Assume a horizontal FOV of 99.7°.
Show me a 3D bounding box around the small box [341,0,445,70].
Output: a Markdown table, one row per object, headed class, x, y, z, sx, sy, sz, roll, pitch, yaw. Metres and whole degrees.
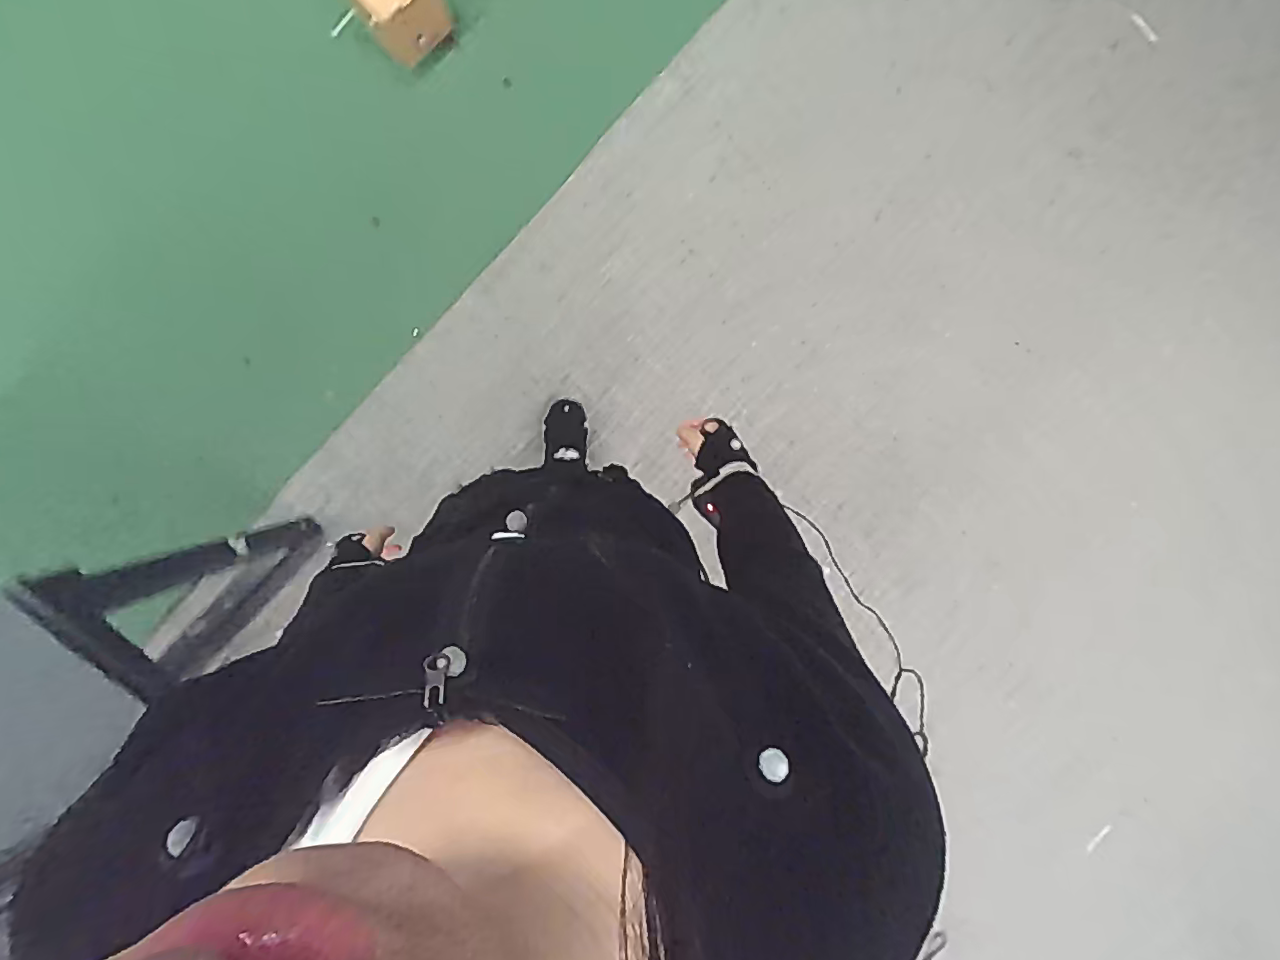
| class | x | y | z | sx | sy | sz | roll | pitch | yaw |
| --- | --- | --- | --- | --- | --- | --- | --- | --- | --- |
| small box | -0.604 | -1.148 | 1.294 | 0.168 | 0.176 | 0.179 | -45 | 97 | -1 |
